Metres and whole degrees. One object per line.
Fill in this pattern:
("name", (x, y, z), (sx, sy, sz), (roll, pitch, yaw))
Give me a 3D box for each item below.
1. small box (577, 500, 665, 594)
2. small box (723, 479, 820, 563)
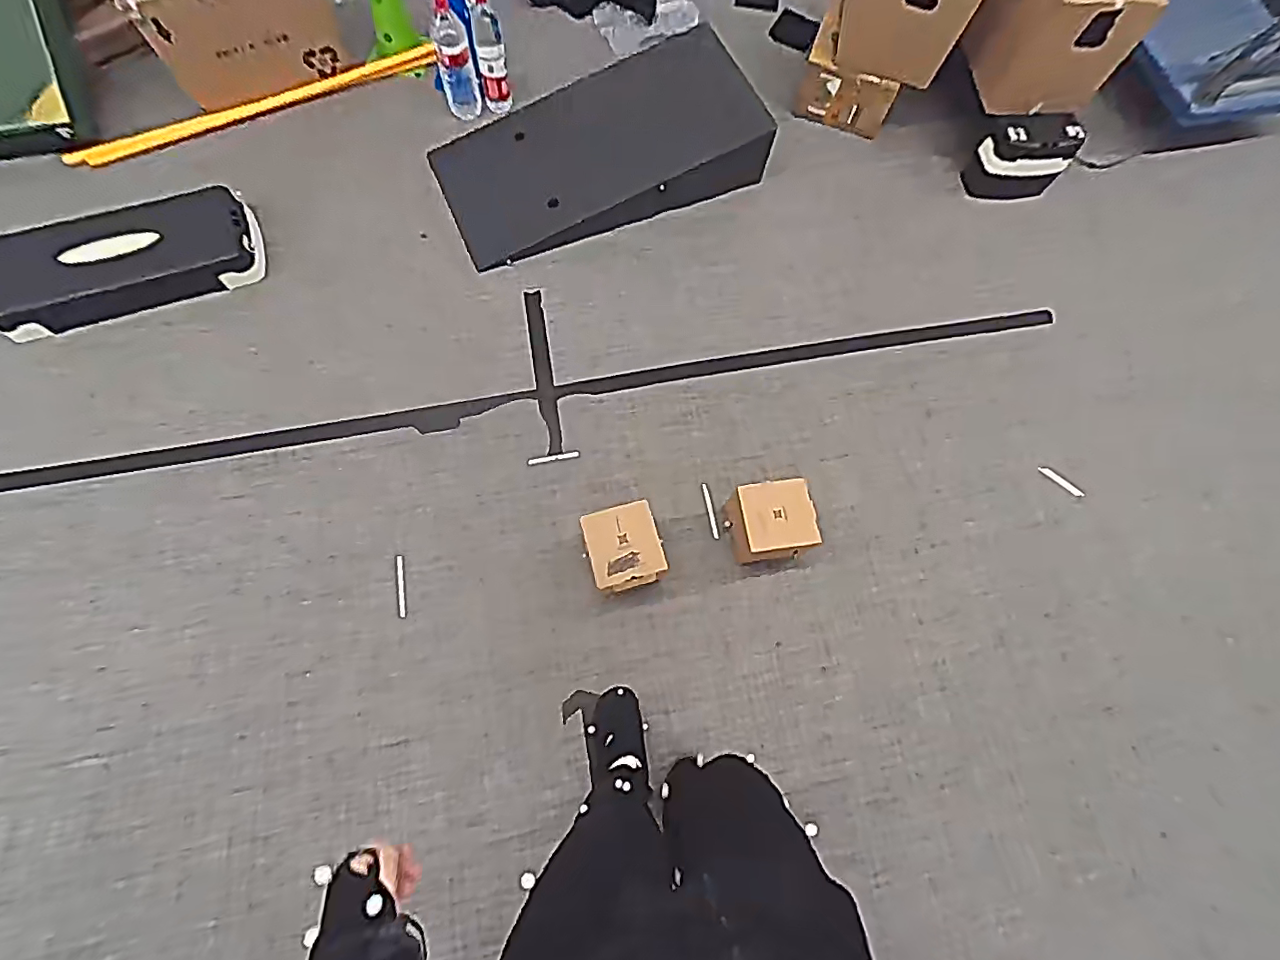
("small box", (-0.048, 0.169, 1.299), (0.168, 0.176, 0.179), (-15, 73, -9))
("small box", (0.319, 0.106, 1.347), (0.179, 0.176, 0.168), (-7, 72, -6))
